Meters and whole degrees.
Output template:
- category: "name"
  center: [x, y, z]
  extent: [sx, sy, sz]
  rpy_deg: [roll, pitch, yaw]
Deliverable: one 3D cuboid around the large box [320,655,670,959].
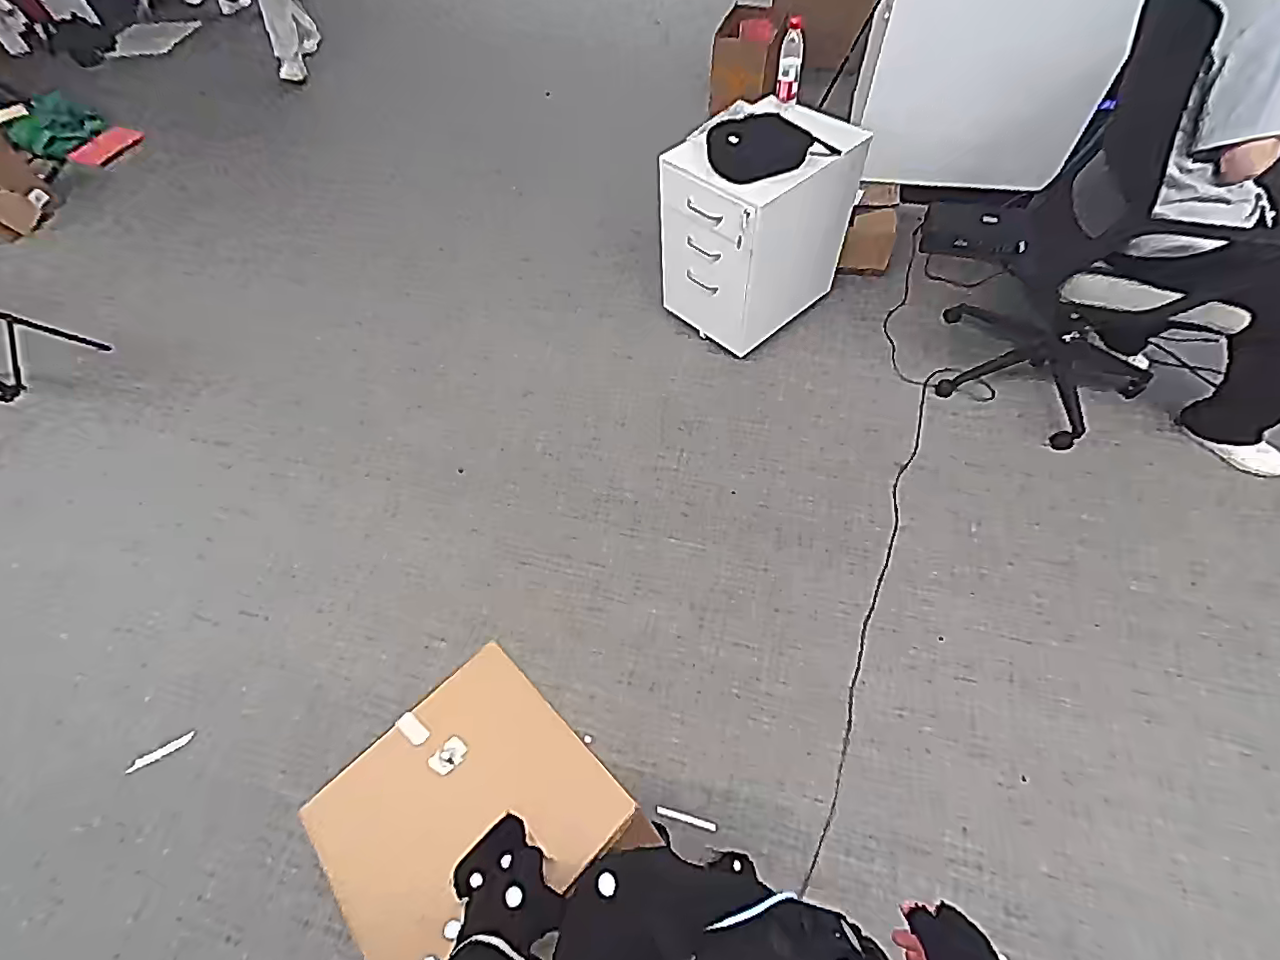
- category: "large box"
  center: [-0.181, 0.537, 0.817]
  extent: [0.320, 0.408, 0.320]
  rpy_deg: [-38, 56, -21]
